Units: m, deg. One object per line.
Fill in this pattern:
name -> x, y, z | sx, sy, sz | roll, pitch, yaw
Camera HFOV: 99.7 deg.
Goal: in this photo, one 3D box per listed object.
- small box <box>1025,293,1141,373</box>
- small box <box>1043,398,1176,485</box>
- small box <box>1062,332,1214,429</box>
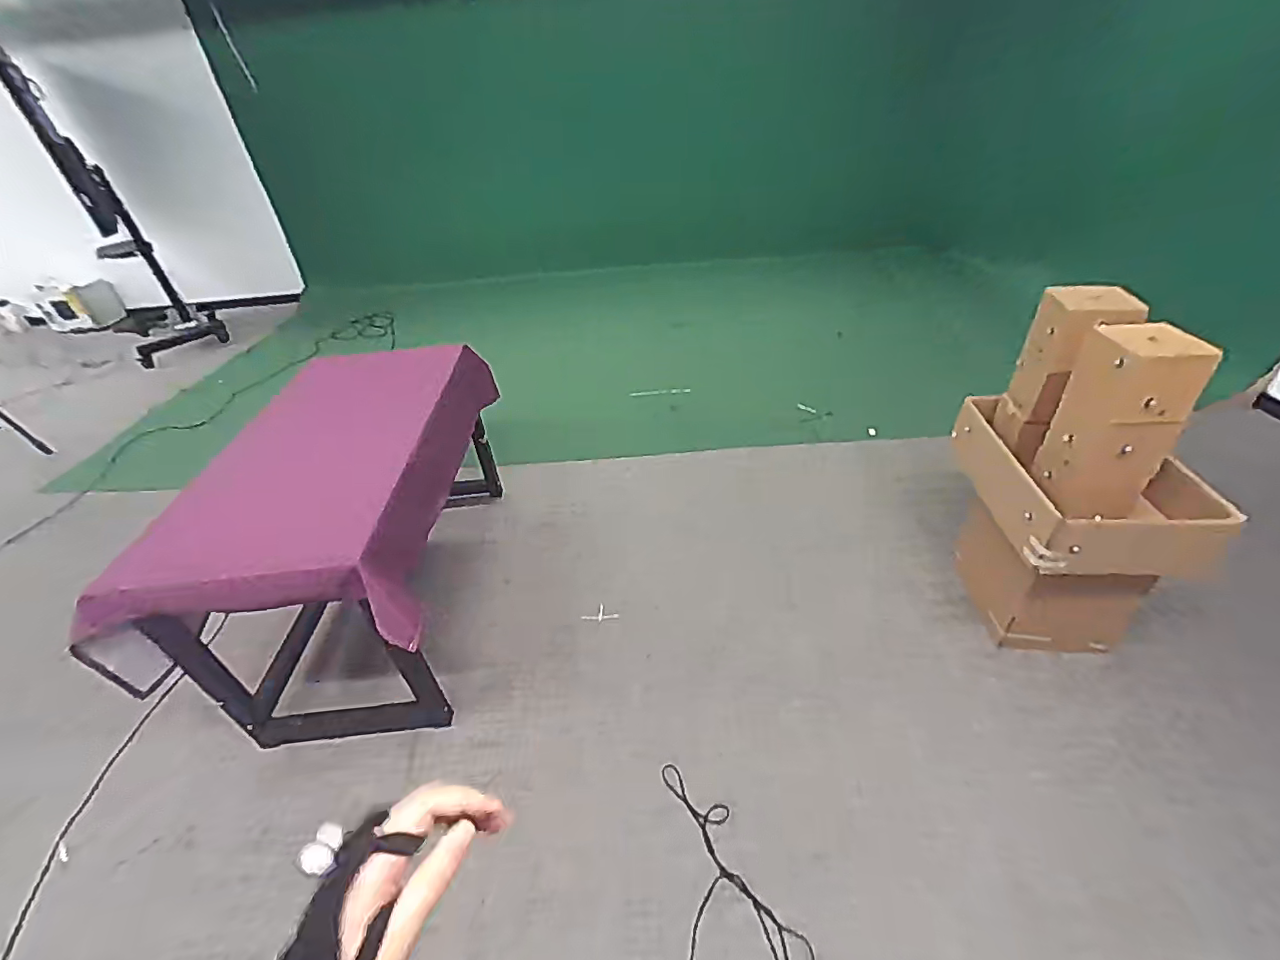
small box -> 1.186, -0.396, 1.470 | 0.179, 0.176, 0.168 | 4, 39, 10
small box -> 1.153, -0.098, 1.351 | 0.179, 0.176, 0.168 | -3, 36, 5
small box -> 1.140, -0.233, 1.259 | 0.168, 0.176, 0.179 | -1, 36, 4
